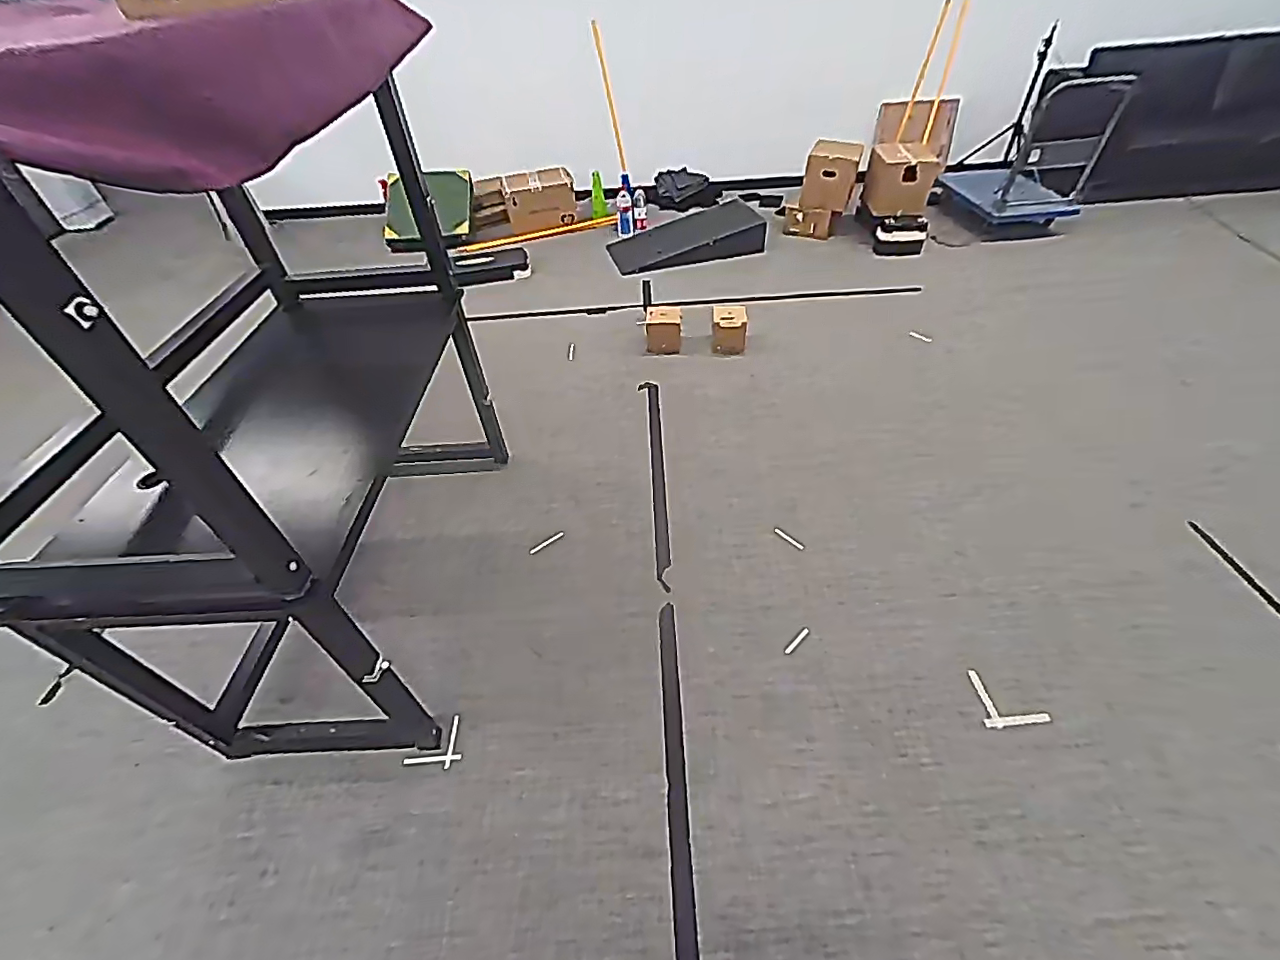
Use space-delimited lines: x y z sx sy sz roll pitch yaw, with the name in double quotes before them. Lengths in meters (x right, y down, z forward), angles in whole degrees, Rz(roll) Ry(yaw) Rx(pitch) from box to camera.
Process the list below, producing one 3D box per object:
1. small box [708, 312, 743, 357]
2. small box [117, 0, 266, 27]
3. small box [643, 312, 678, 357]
"small box" 0.439 -0.747 2.778 0.168 0.176 0.179 1 44 4
"small box" -0.747 -0.843 0.865 0.168 0.176 0.179 -1 45 4
"small box" 0.108 -0.750 2.800 0.179 0.176 0.168 1 44 4
